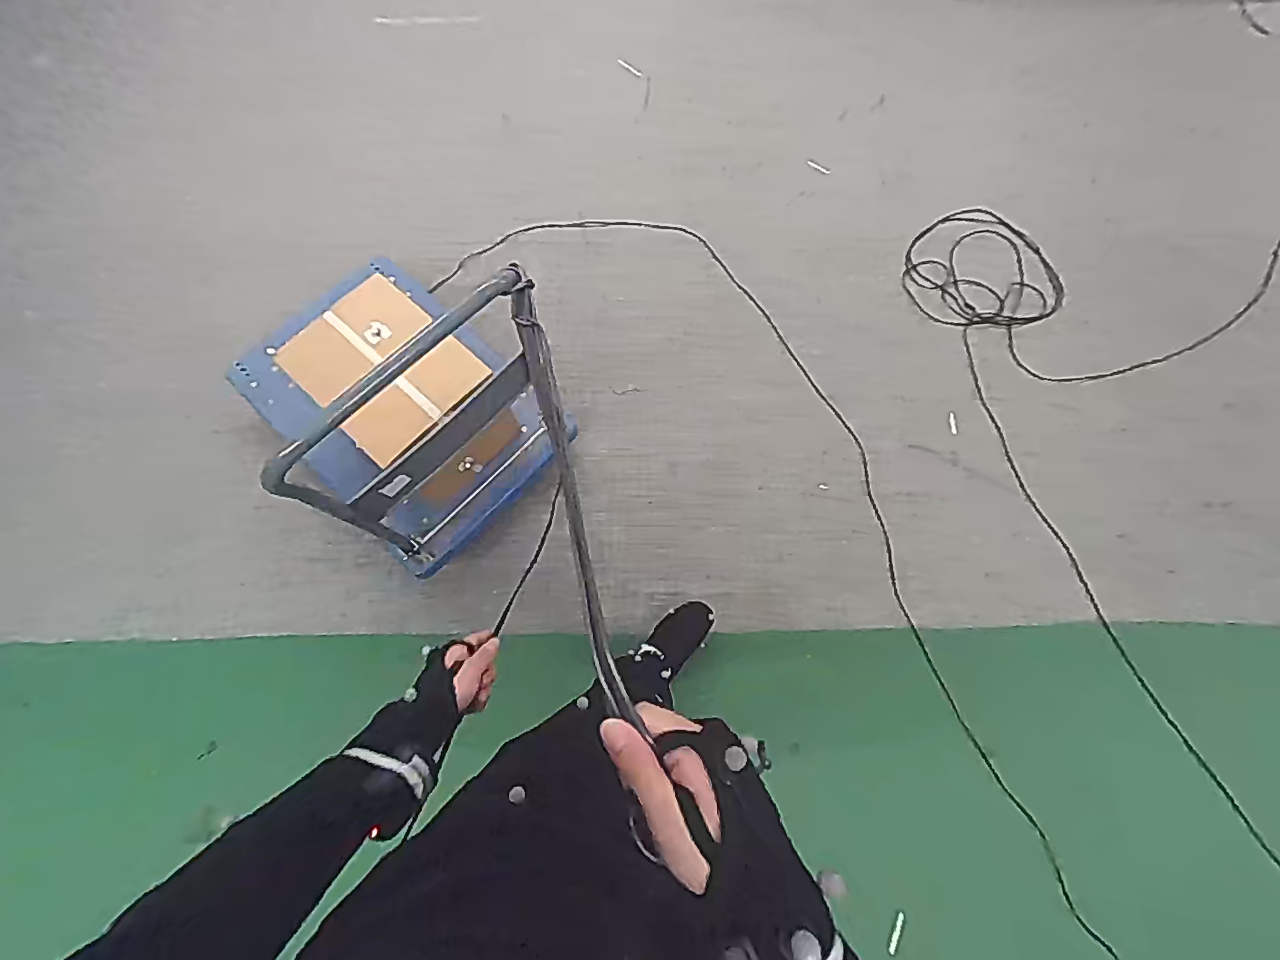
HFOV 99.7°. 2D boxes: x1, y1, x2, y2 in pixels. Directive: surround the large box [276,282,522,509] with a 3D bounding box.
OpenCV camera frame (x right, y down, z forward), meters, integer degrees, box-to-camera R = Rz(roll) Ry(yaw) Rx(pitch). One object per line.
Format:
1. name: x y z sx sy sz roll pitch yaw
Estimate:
1. large box: -0.566 -0.194 1.339 0.408 0.320 0.320 40 75 14
